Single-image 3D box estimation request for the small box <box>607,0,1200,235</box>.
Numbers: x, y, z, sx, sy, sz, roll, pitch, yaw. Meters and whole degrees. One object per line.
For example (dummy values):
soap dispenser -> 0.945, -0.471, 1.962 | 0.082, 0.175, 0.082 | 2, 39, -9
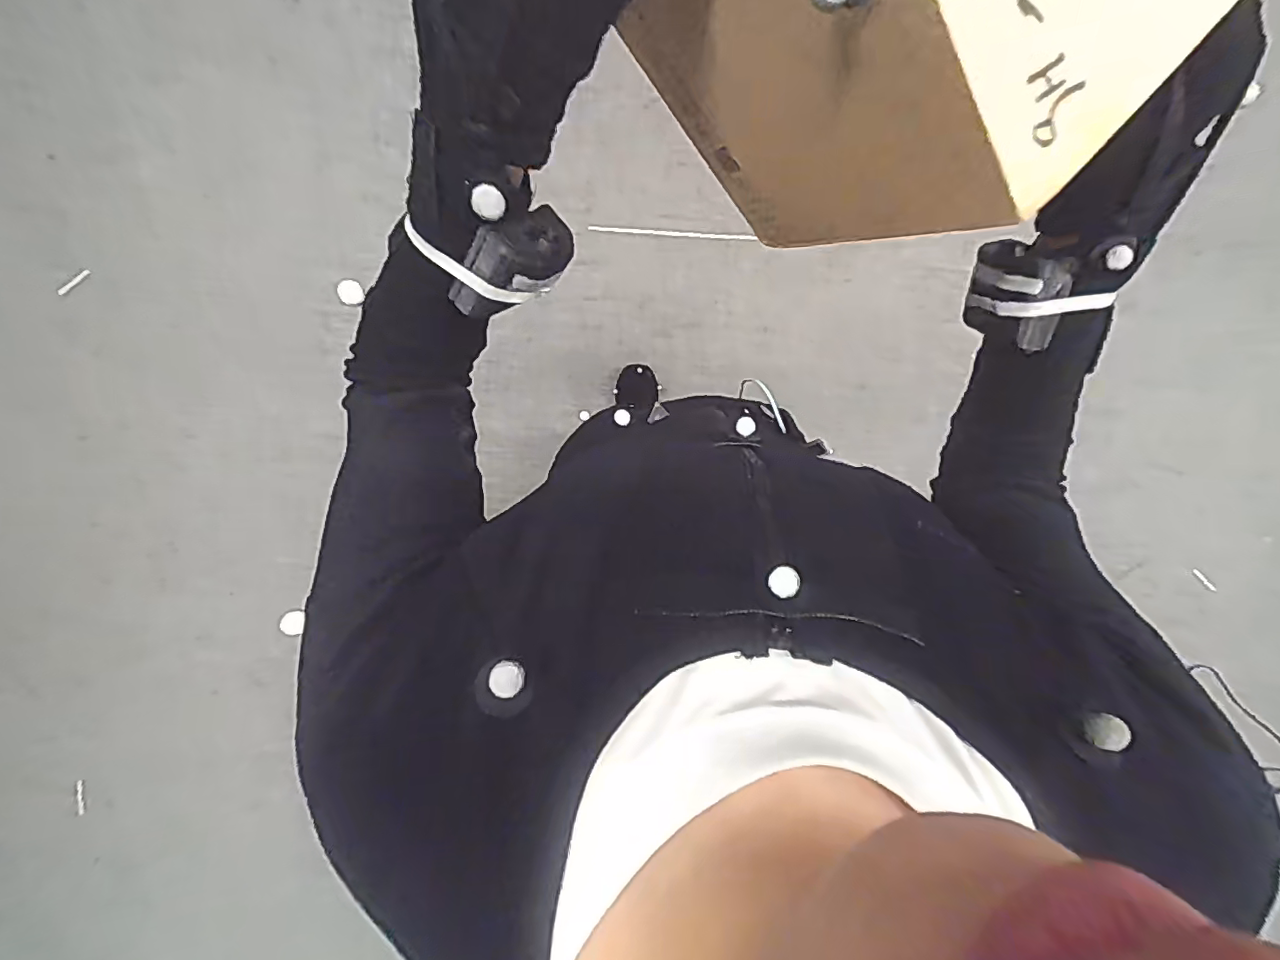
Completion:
small box -> 0.112, -0.237, 0.235 | 0.168, 0.176, 0.179 | 42, 90, -27
